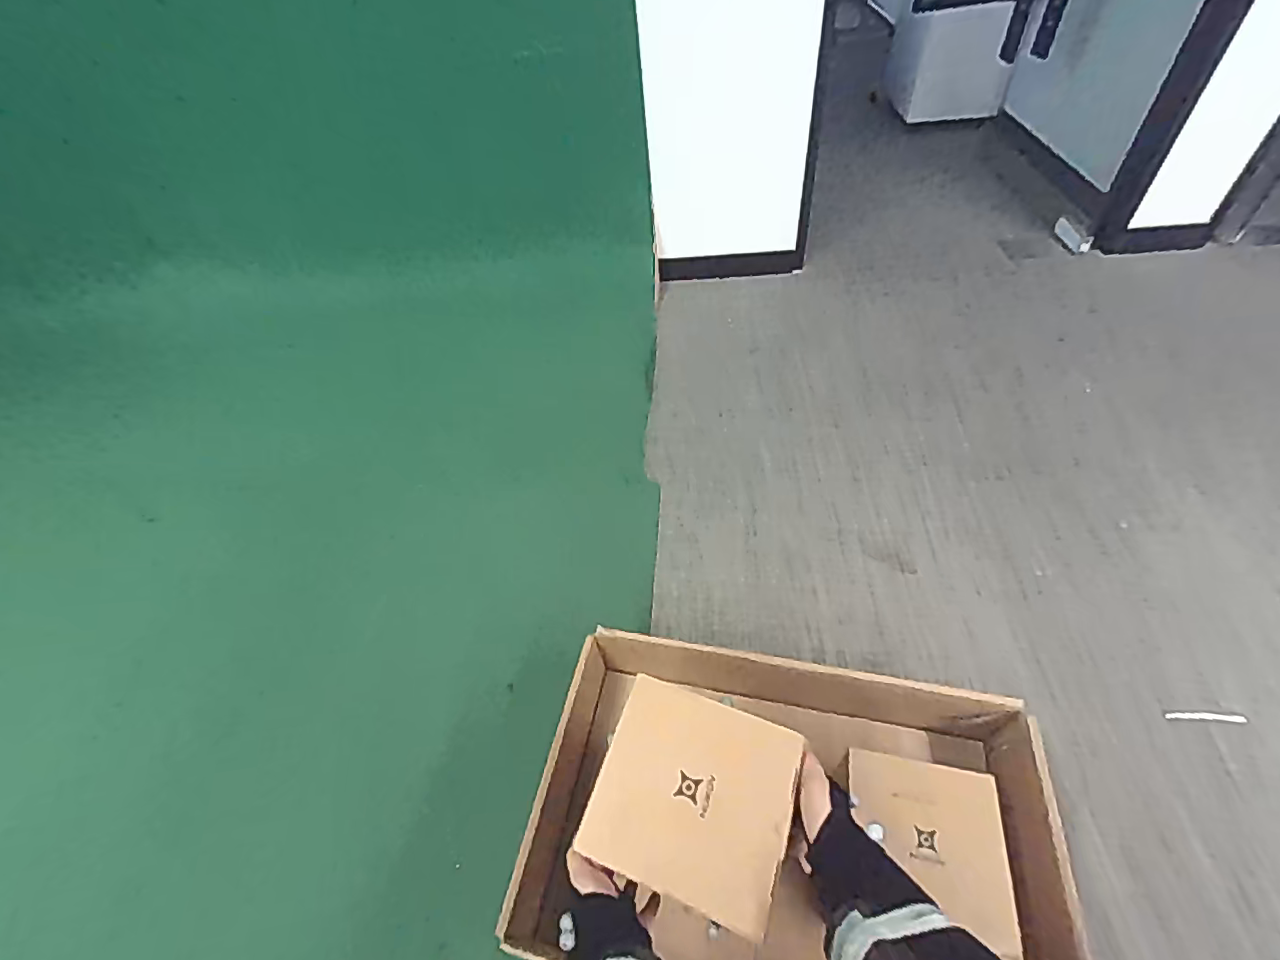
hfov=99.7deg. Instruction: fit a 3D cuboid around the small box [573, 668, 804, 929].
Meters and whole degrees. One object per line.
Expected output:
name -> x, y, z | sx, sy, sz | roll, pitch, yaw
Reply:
small box -> 0.053, 0.325, 0.563 | 0.179, 0.176, 0.168 | 16, 58, 14
